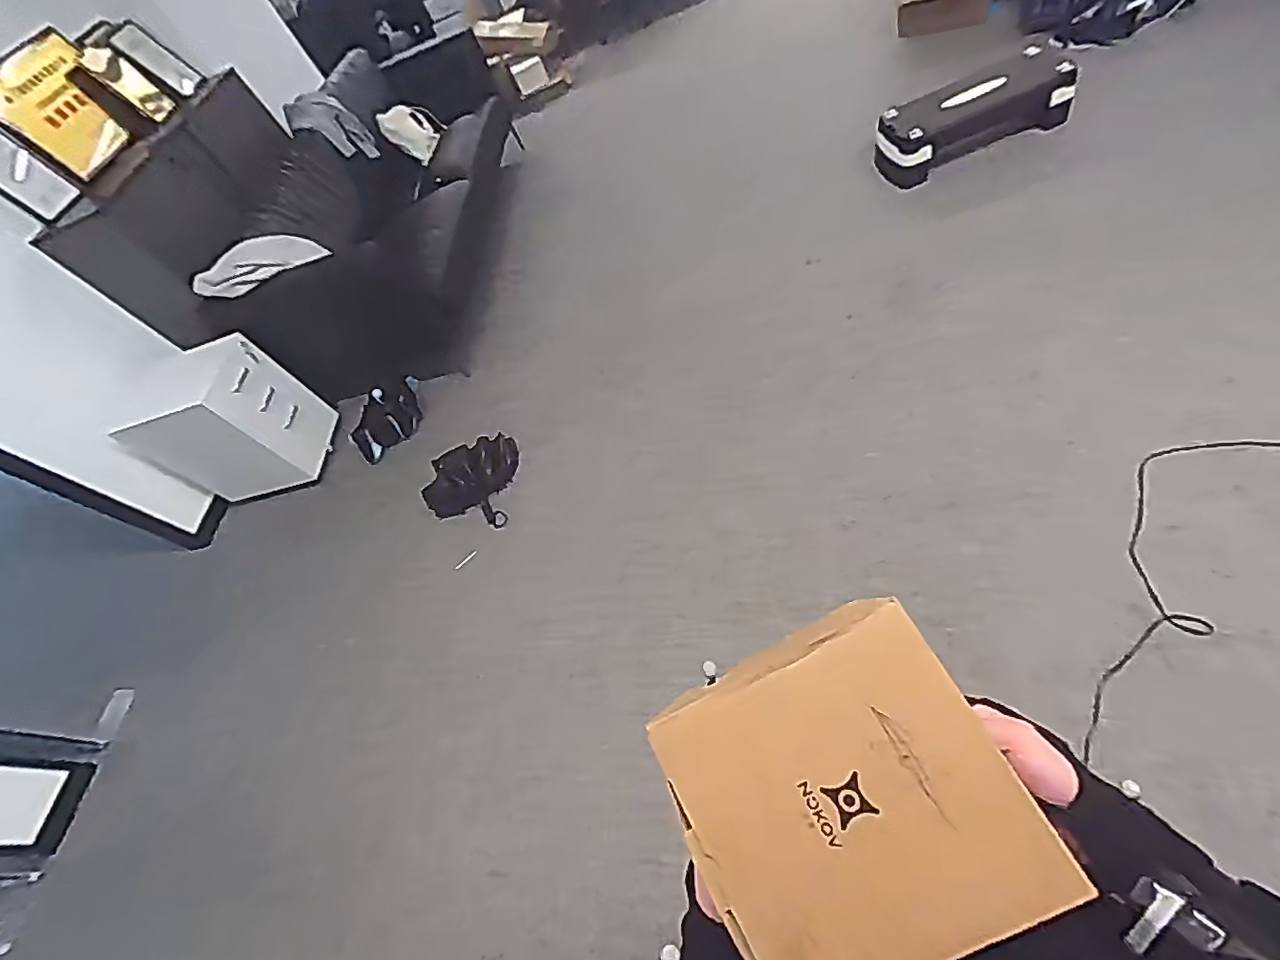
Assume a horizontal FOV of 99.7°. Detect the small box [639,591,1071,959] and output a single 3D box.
[{"bbox_3d":[0.127,0.193,0.378,0.179,0.176,0.168,-31,73,6],"label":"small box"}]
